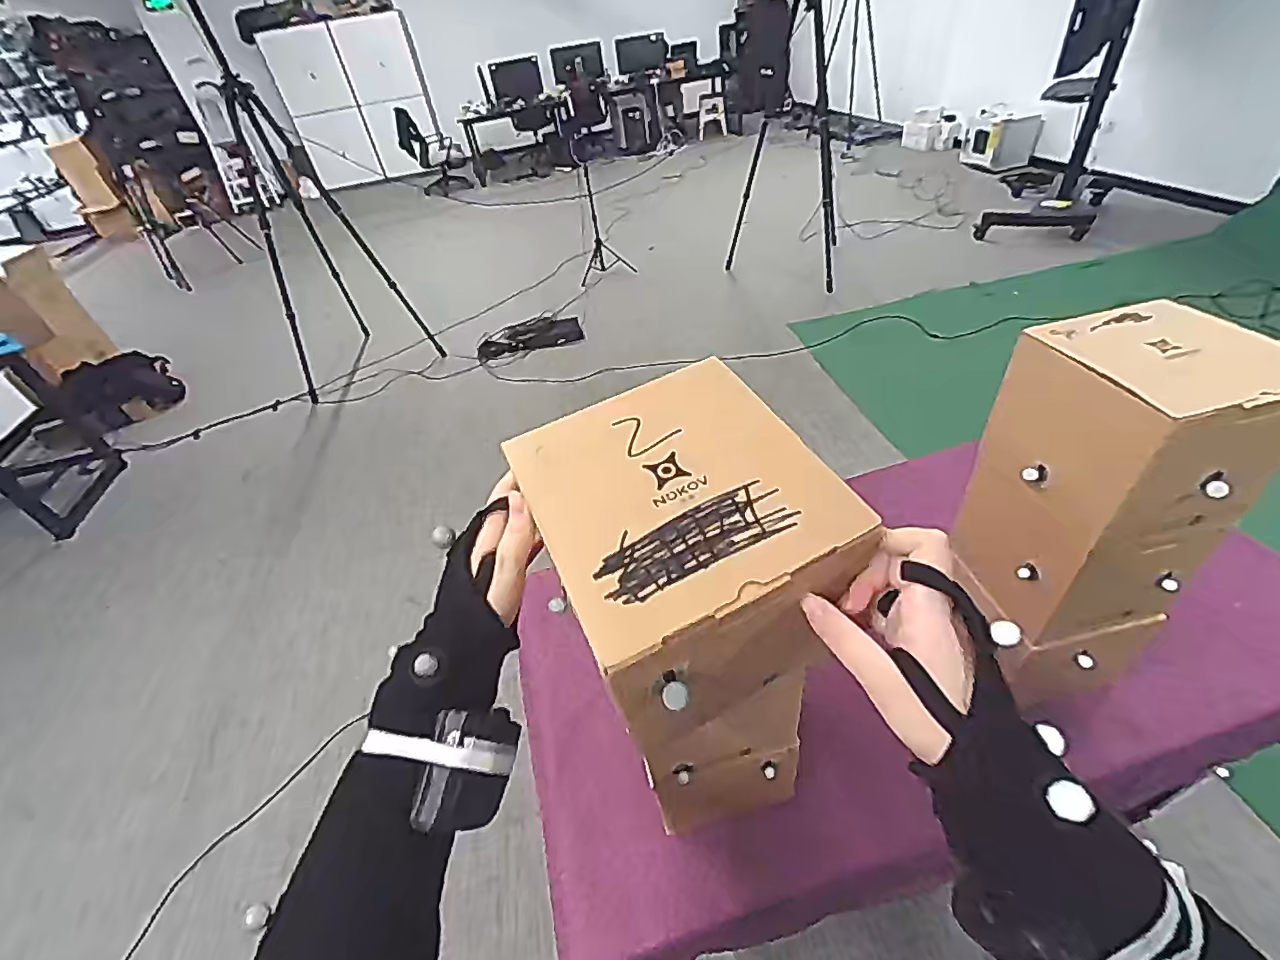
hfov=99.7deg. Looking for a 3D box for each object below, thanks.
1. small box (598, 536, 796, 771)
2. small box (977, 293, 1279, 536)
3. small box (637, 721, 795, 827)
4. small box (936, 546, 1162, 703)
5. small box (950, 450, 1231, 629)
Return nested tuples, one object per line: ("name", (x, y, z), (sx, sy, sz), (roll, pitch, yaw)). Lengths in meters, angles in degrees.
("small box", (0.061, 0.199, 0.607), (0.168, 0.176, 0.179), (-16, 40, -6))
("small box", (0.489, -0.062, 0.549), (0.168, 0.176, 0.179), (-13, 42, -3))
("small box", (0.088, 0.323, 0.711), (0.179, 0.176, 0.168), (-15, 41, -5))
("small box", (0.544, 0.186, 0.756), (0.179, 0.176, 0.168), (-13, 41, -1))
("small box", (0.517, 0.060, 0.657), (0.168, 0.176, 0.179), (-13, 40, -2))
